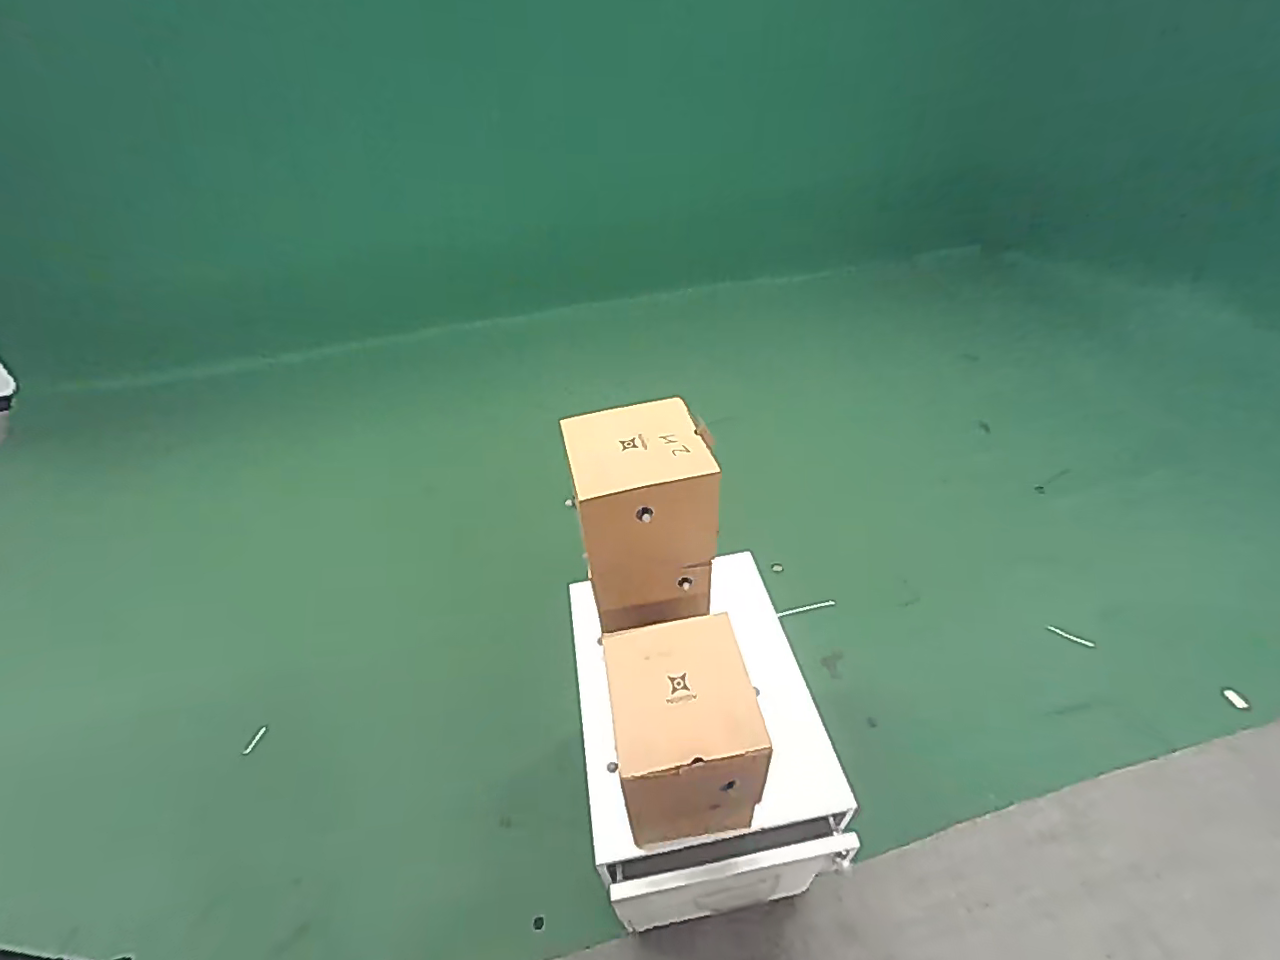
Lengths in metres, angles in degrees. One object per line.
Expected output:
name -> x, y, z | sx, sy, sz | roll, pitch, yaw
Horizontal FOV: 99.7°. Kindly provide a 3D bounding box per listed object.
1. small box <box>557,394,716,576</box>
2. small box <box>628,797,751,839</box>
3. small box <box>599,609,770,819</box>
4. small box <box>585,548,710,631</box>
small box -> -0.005, 0.009, 0.734 | 0.179, 0.176, 0.168 | -11, 44, -8
small box -> 0.061, 0.396, 0.786 | 0.179, 0.176, 0.168 | -7, 41, -3
small box -> 0.047, 0.290, 0.664 | 0.168, 0.176, 0.179 | -9, 42, -6
small box -> 0.008, 0.125, 0.849 | 0.179, 0.176, 0.168 | -6, 42, -3
